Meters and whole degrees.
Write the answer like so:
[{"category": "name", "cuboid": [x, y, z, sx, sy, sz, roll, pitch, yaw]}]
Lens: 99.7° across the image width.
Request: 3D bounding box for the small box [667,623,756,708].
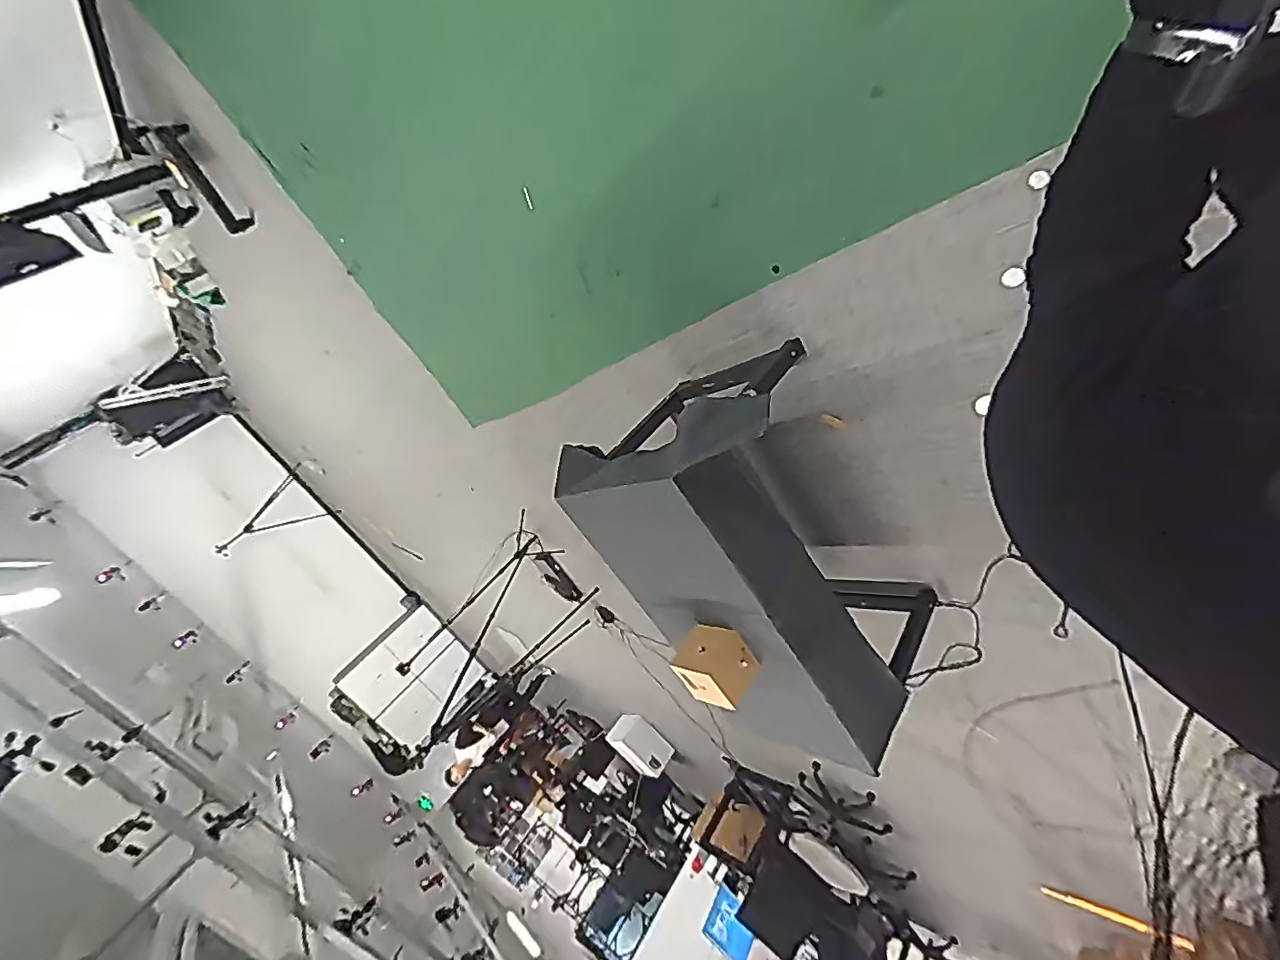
[{"category": "small box", "cuboid": [0.223, 0.560, 1.659, 0.179, 0.176, 0.168, -9, 122, 52]}]
